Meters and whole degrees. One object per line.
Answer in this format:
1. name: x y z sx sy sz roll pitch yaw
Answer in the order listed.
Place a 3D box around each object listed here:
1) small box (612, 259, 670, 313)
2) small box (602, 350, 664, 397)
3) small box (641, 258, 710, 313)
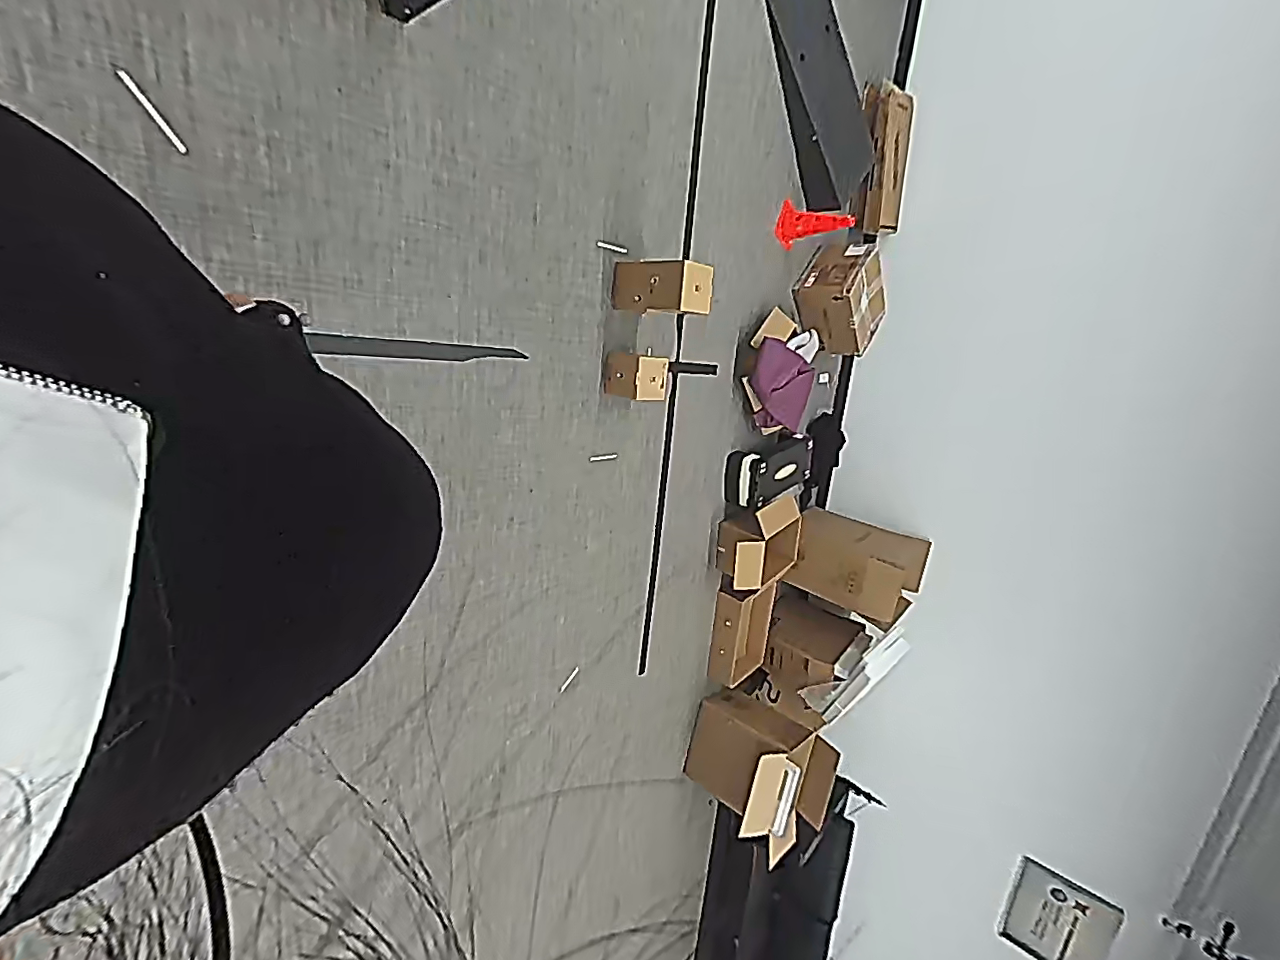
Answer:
1. small box: 0.008 -0.734 2.049 0.168 0.176 0.179 -14 114 -47
2. small box: -0.030 -0.420 2.132 0.179 0.176 0.168 -9 112 -47
3. small box: 0.126 -0.697 1.944 0.179 0.176 0.168 -12 112 -46
